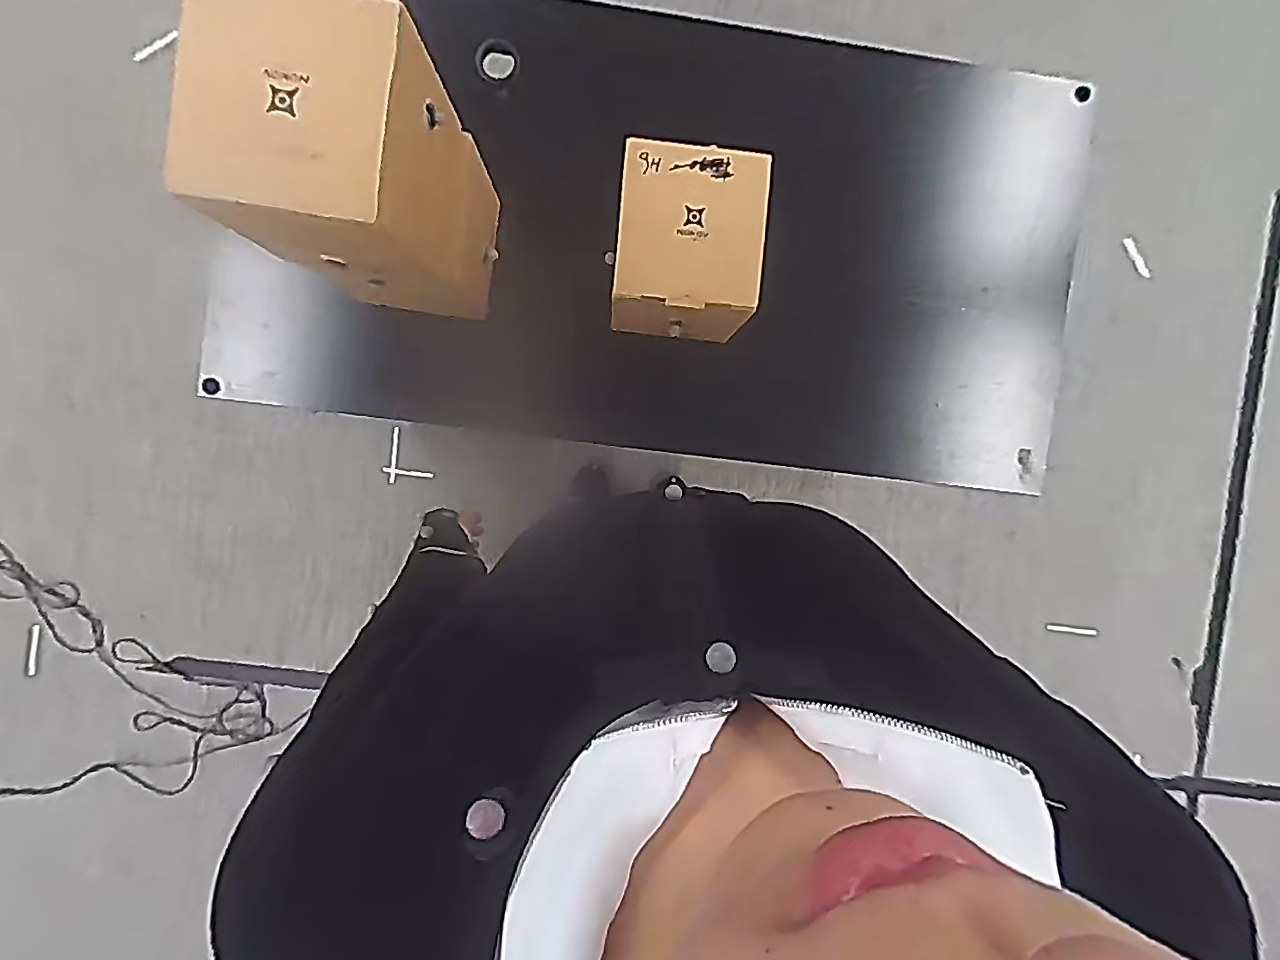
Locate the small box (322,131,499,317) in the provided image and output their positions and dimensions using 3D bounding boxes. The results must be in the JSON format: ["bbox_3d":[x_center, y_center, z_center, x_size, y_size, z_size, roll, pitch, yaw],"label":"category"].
[{"bbox_3d":[-0.285,-0.311,0.664,0.179,0.176,0.168,8,92,-4],"label":"small box"}]

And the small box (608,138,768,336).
[{"bbox_3d":[0.051,-0.290,0.685,0.168,0.176,0.179,5,92,-3],"label":"small box"}]

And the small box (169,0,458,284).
[{"bbox_3d":[-0.279,-0.304,0.502,0.168,0.176,0.179,7,93,-2],"label":"small box"}]
